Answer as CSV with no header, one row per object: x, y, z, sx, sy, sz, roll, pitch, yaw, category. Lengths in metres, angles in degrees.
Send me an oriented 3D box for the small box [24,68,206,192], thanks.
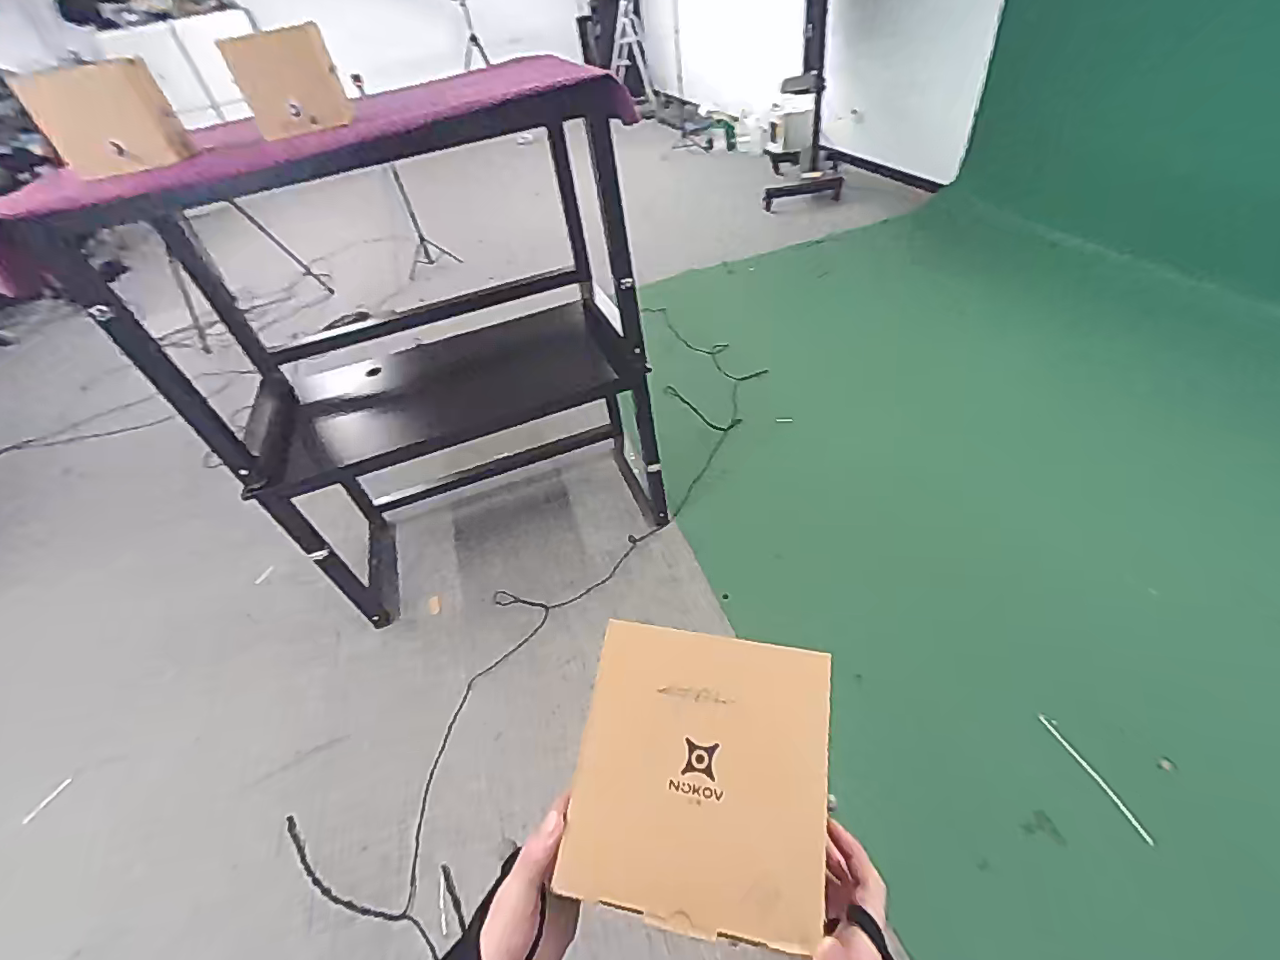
-1.014,-0.693,1.070,0.179,0.176,0.168,-20,42,-11,small box

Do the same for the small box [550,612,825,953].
0.047,0.225,0.433,0.168,0.176,0.179,7,62,12,small box
